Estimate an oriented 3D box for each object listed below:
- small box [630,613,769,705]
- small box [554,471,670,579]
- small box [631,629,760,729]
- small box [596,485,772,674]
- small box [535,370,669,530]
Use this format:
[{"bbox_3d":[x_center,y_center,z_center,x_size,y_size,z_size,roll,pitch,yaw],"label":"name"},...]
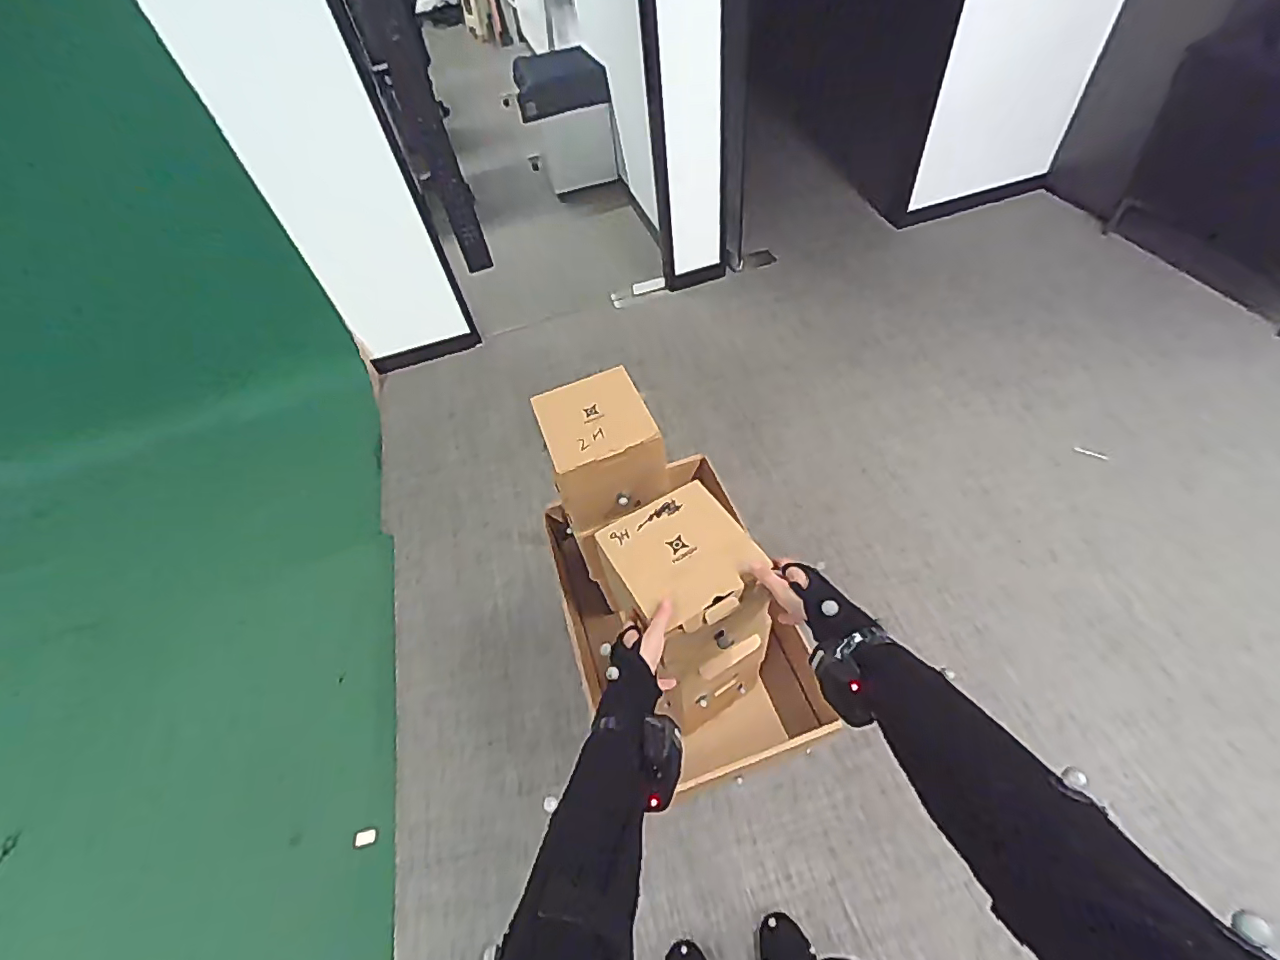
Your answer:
[{"bbox_3d":[0.088,0.240,0.879,0.168,0.176,0.179,-28,53,-15],"label":"small box"},{"bbox_3d":[-0.043,0.061,1.035,0.179,0.176,0.168,-23,53,-8],"label":"small box"},{"bbox_3d":[0.104,0.338,1.009,0.168,0.176,0.179,-28,53,-14],"label":"small box"},{"bbox_3d":[0.060,0.145,0.748,0.168,0.176,0.179,-26,54,-13],"label":"small box"},{"bbox_3d":[-0.060,-0.048,0.911,0.168,0.176,0.179,-21,54,-6],"label":"small box"}]
